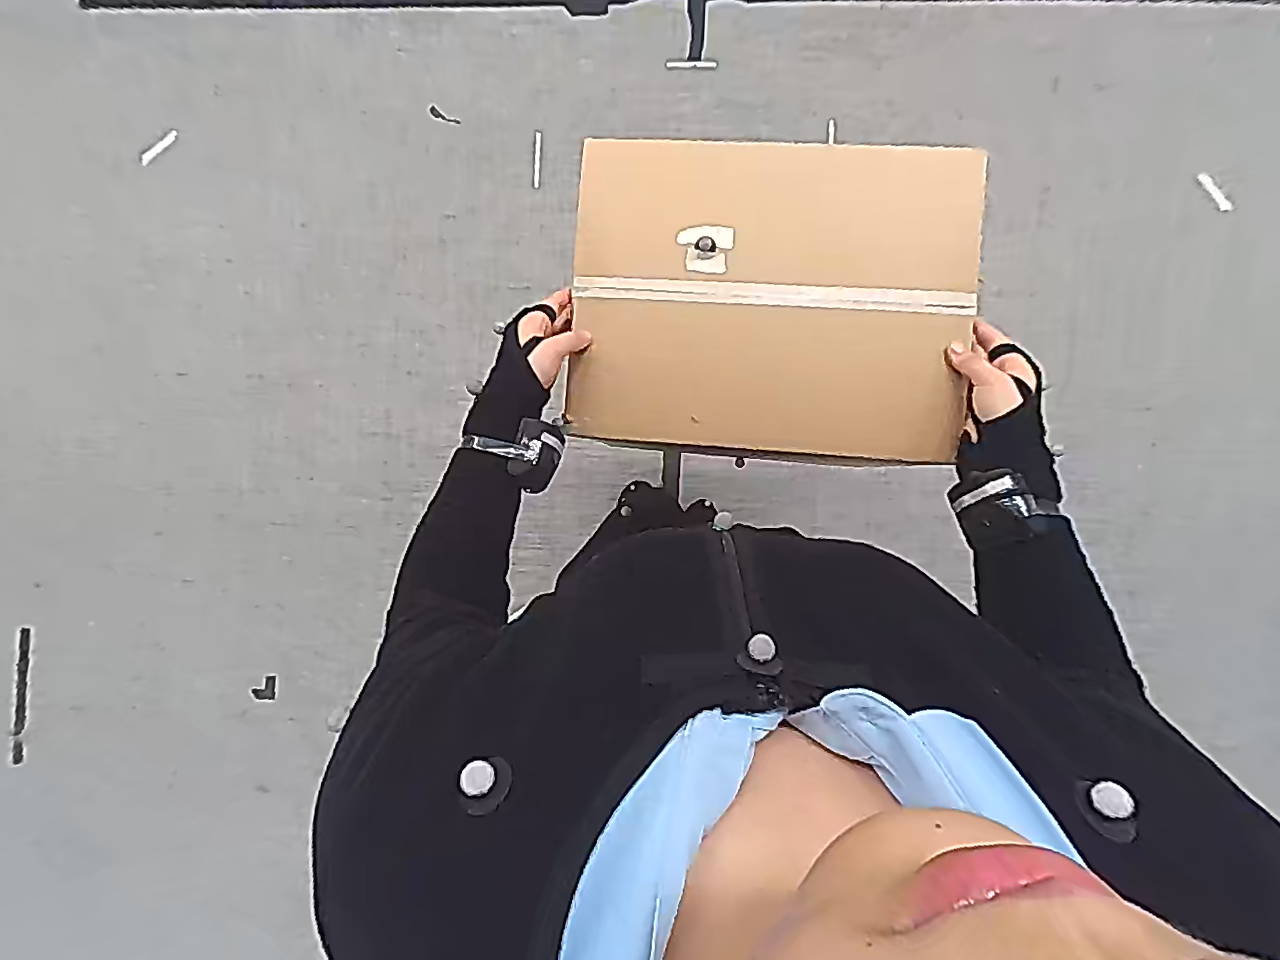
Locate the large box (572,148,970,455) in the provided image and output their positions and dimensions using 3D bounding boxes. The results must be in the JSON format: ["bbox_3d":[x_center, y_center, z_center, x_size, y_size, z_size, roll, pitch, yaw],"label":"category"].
[{"bbox_3d":[0.146,-0.194,0.715,0.408,0.320,0.320,4,90,6],"label":"large box"}]
